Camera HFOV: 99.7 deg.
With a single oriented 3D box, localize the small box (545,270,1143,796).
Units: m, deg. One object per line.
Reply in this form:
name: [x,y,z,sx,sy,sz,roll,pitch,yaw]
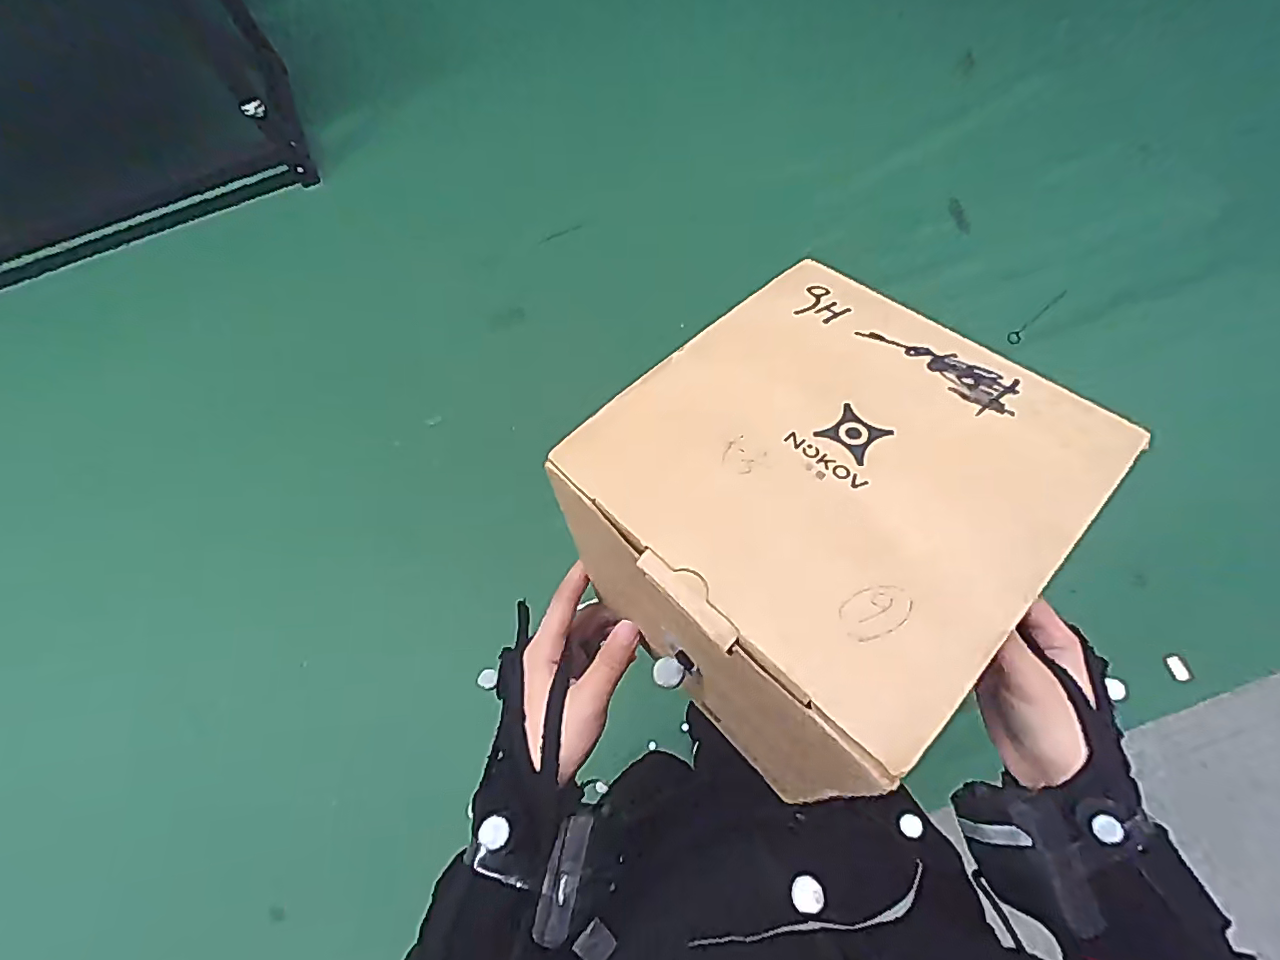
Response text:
small box: [0.083,0.035,0.282,0.179,0.176,0.168,-39,62,-18]
